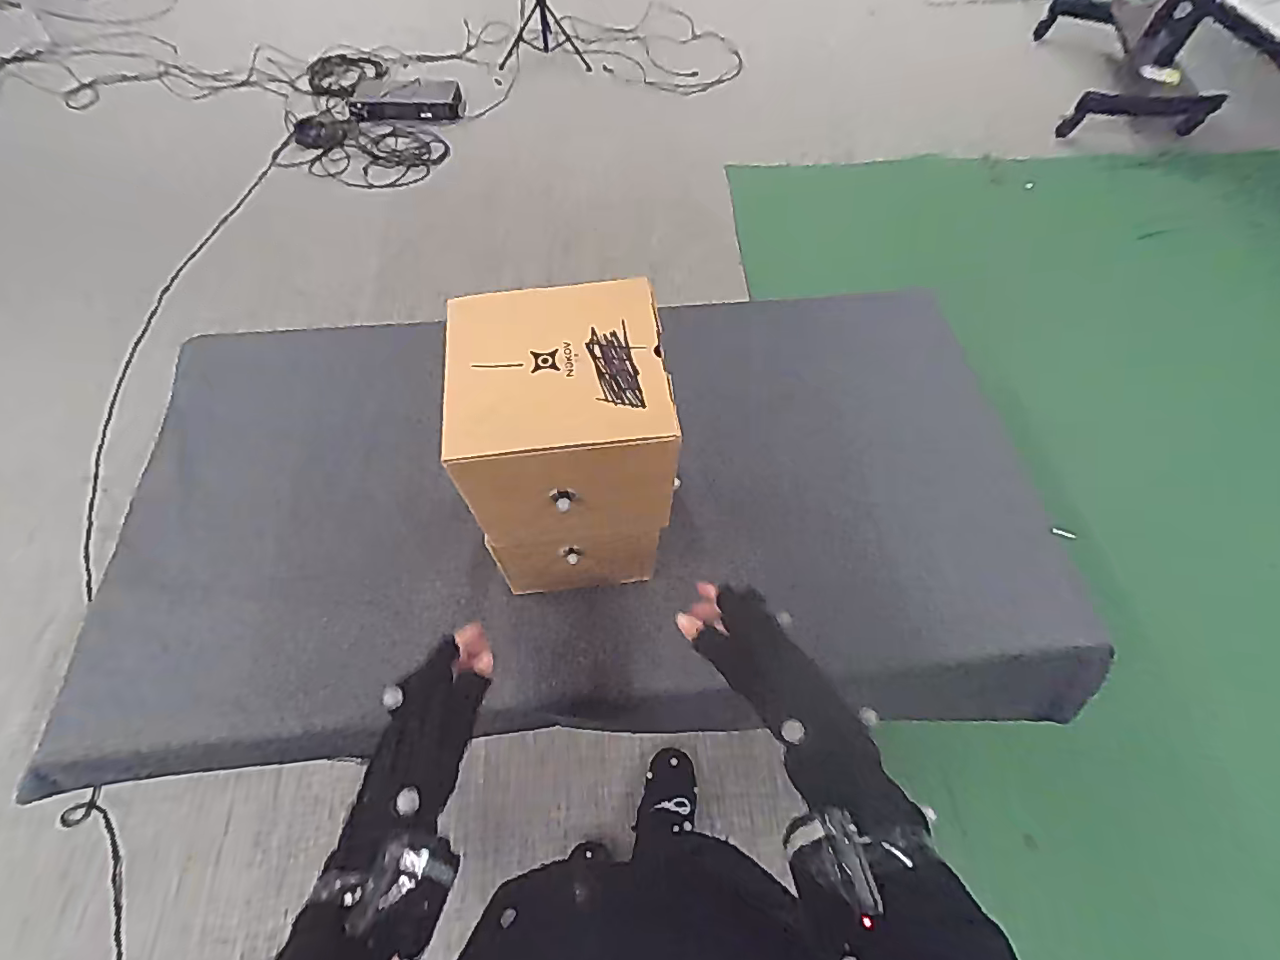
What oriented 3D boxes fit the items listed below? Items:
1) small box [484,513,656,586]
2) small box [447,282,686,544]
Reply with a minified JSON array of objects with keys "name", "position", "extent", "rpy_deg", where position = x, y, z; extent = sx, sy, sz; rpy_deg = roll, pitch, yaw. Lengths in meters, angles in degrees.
[{"name":"small box","position":[-0.079,0.020,0.647],"extent":[0.179,0.176,0.168],"rpy_deg":[-5,62,-5]},{"name":"small box","position":[-0.067,-0.054,0.500],"extent":[0.179,0.176,0.168],"rpy_deg":[-9,63,-7]}]
